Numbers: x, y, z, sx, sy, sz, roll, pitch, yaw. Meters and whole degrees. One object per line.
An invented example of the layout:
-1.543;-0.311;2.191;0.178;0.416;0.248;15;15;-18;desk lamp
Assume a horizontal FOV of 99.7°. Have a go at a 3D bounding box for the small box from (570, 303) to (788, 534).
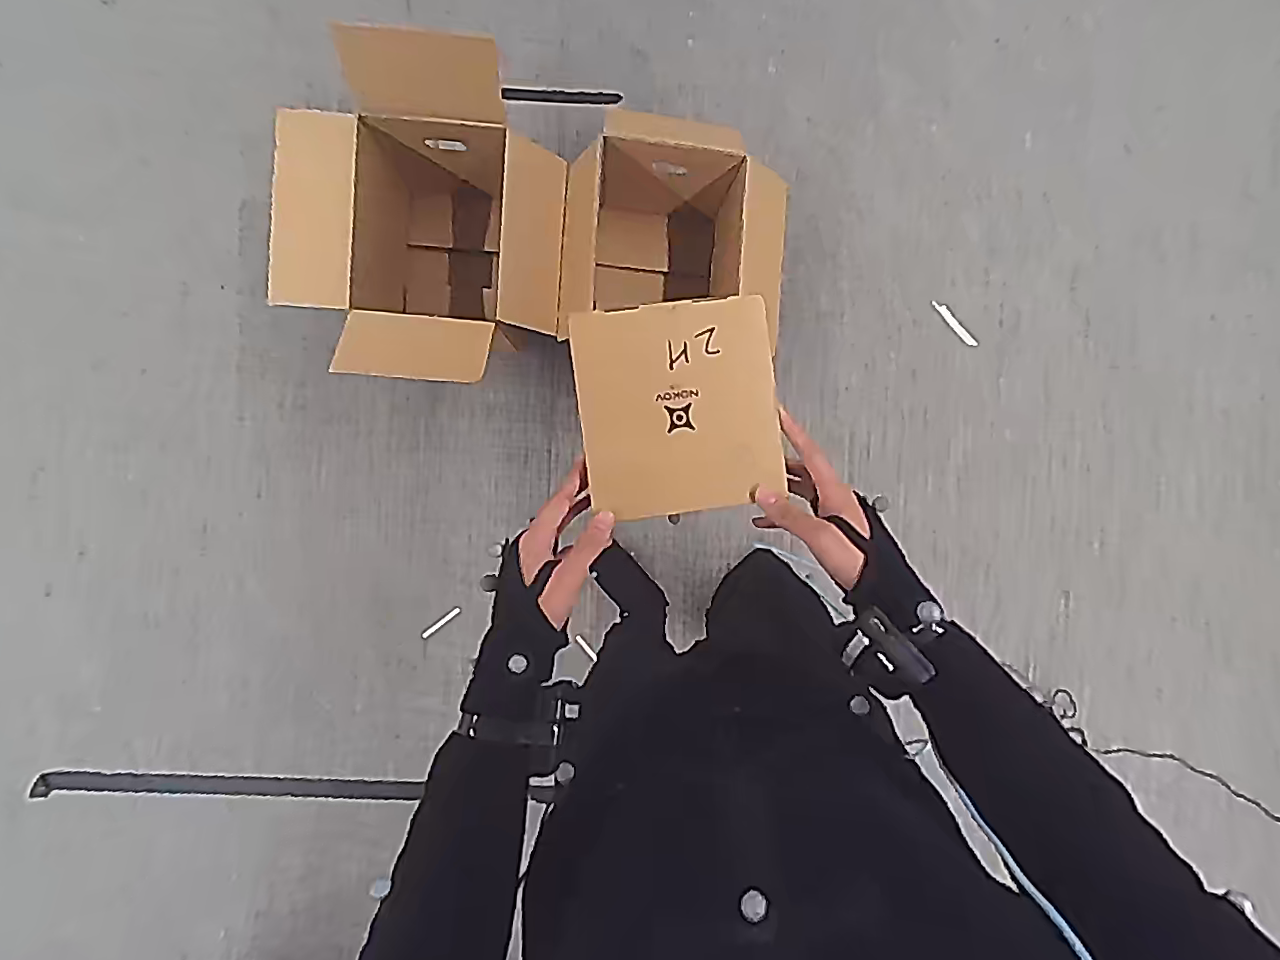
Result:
0.028;-0.051;0.518;0.168;0.176;0.179;-7;90;-4;small box
